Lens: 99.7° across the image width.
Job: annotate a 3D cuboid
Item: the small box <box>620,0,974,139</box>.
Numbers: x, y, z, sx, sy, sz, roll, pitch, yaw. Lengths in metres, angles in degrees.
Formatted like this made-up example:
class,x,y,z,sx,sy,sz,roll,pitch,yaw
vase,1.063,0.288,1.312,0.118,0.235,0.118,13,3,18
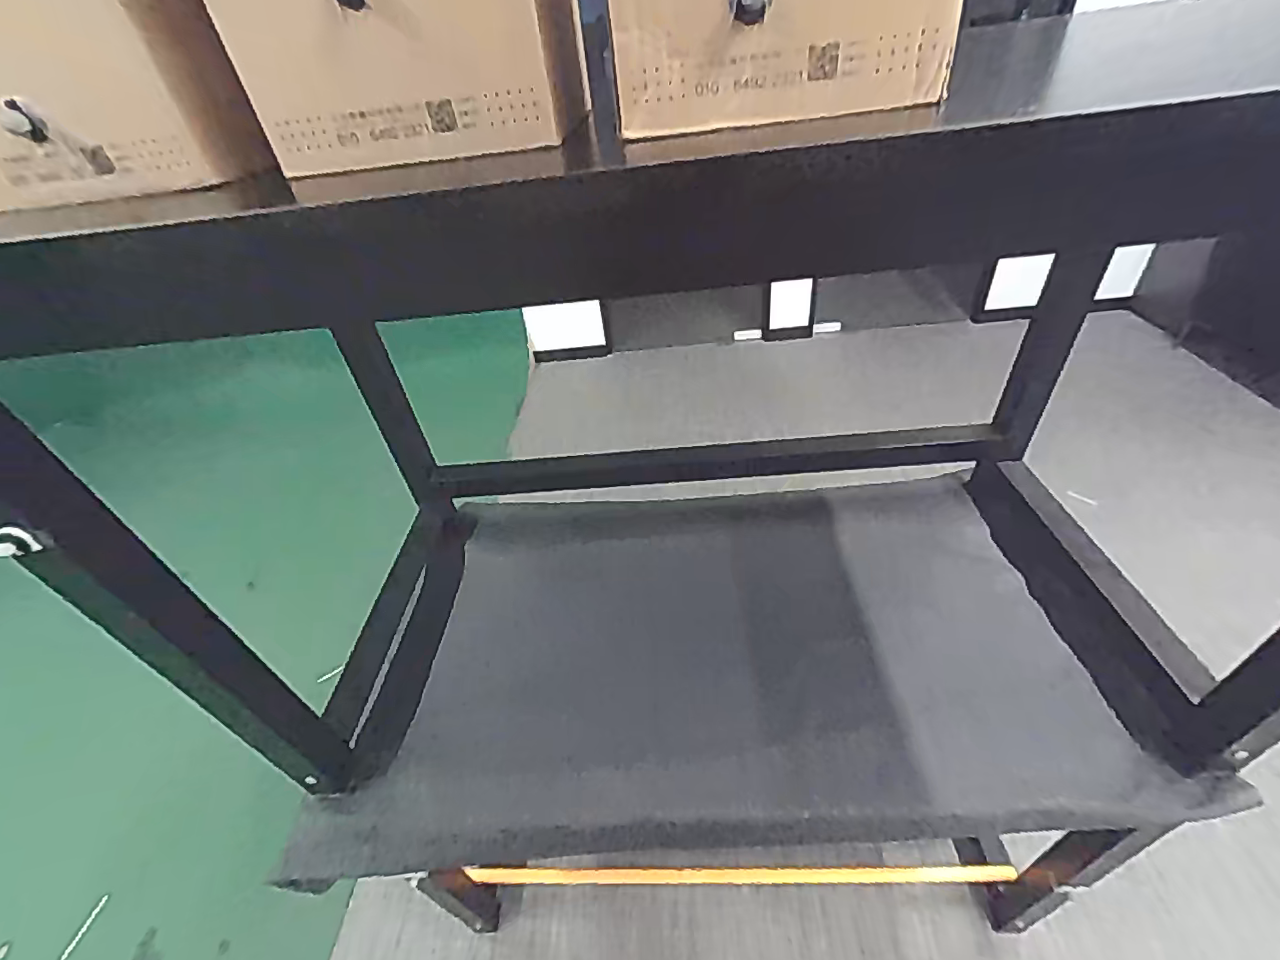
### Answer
class,x,y,z,sx,sy,sz,roll,pitch,yaw
small box,0.073,-0.297,0.293,0.168,0.176,0.179,-3,40,6
